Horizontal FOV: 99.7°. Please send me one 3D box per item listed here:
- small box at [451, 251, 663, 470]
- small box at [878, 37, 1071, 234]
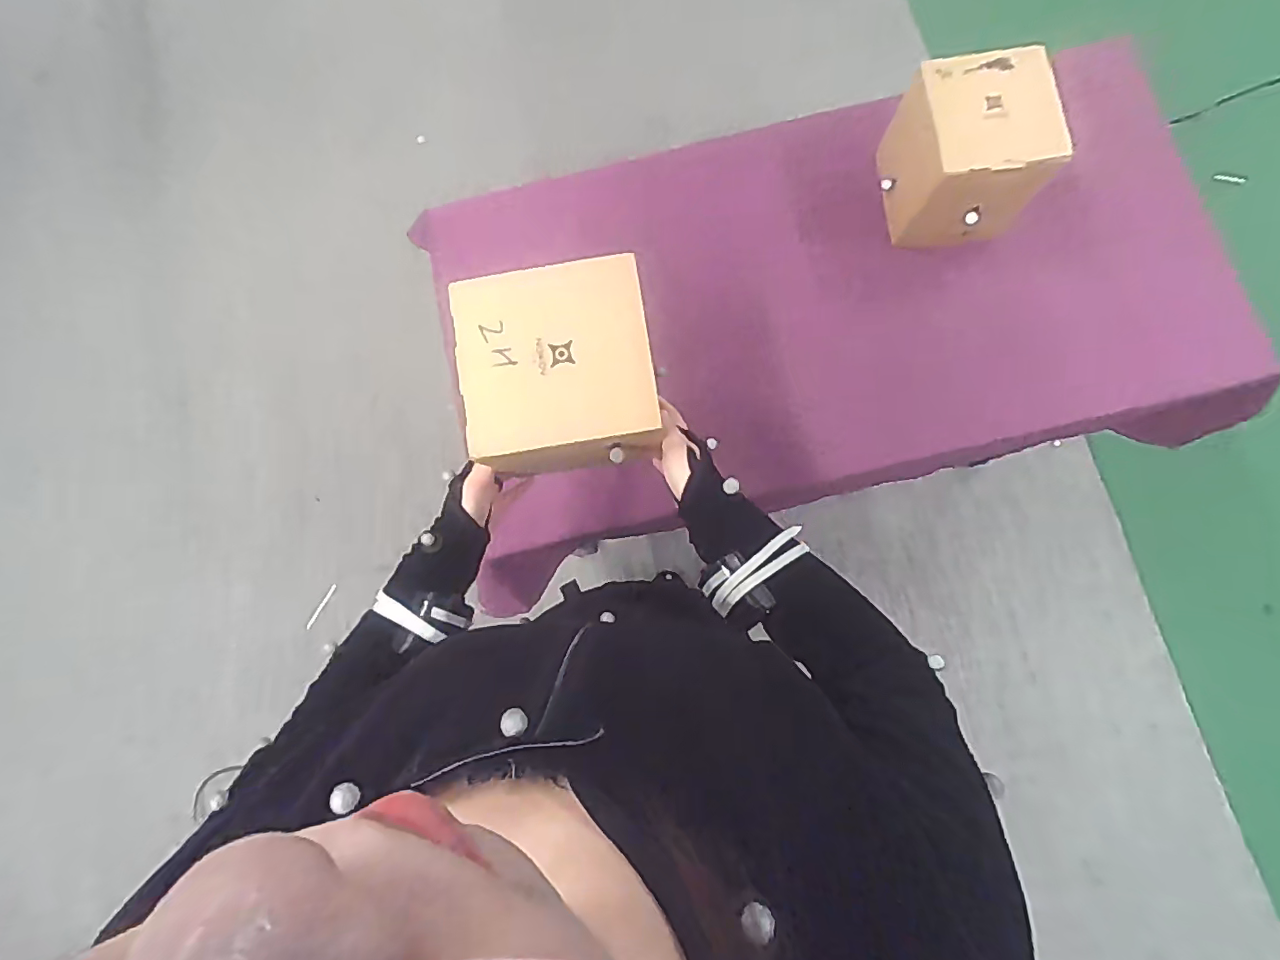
[{"bbox_3d":[-0.073,-0.108,0.562,0.179,0.176,0.168,-9,84,3],"label":"small box"},{"bbox_3d":[0.466,-0.480,0.783,0.168,0.176,0.179,-6,81,2],"label":"small box"}]
